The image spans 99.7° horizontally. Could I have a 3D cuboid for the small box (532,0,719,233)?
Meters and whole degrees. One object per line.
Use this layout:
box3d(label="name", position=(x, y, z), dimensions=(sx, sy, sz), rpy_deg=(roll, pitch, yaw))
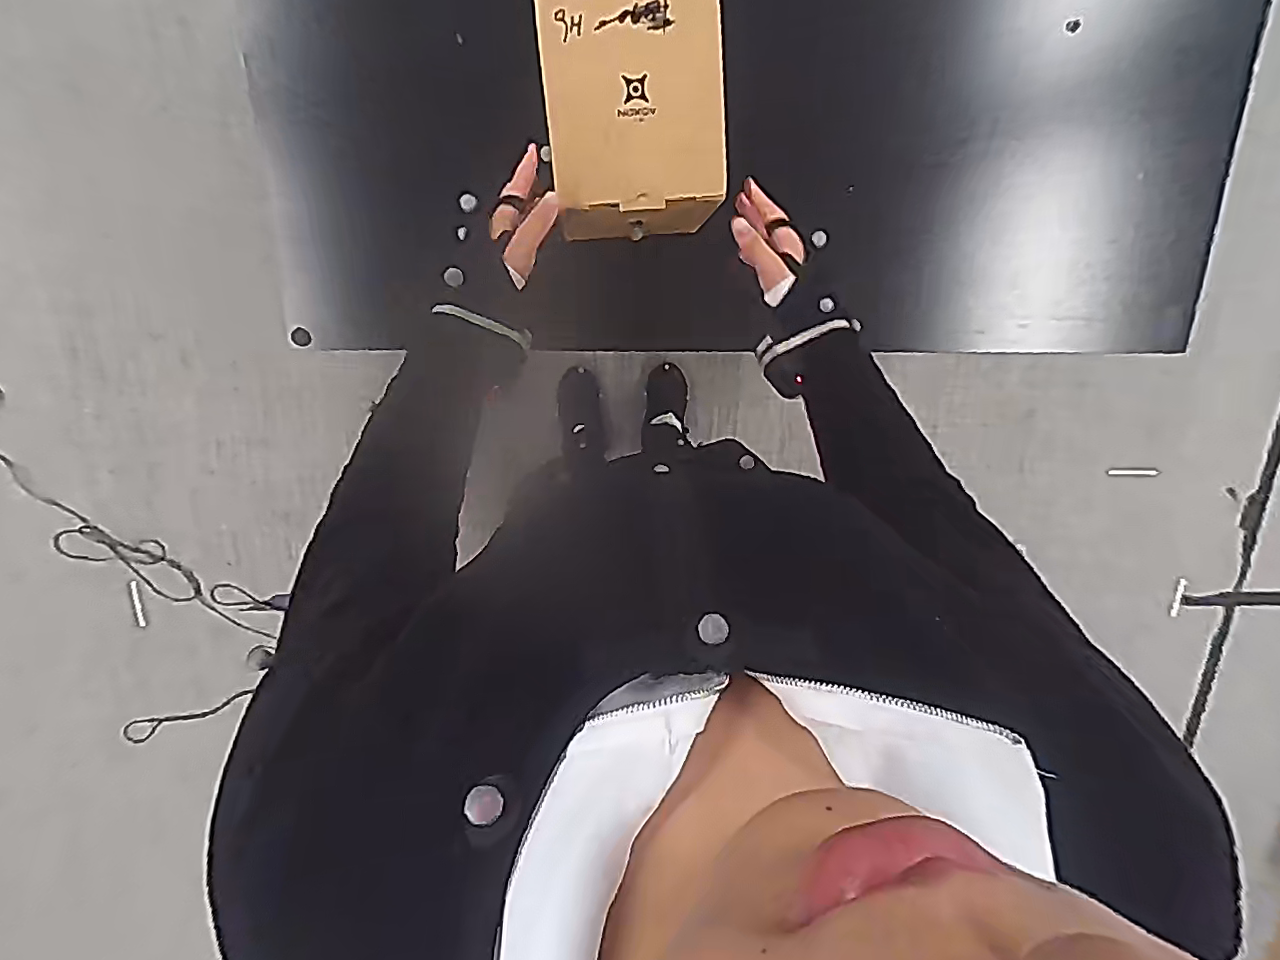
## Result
box3d(label="small box", position=(-0.013, -0.370, 0.577), dimensions=(0.168, 0.176, 0.179), rpy_deg=(-5, 105, -3))
